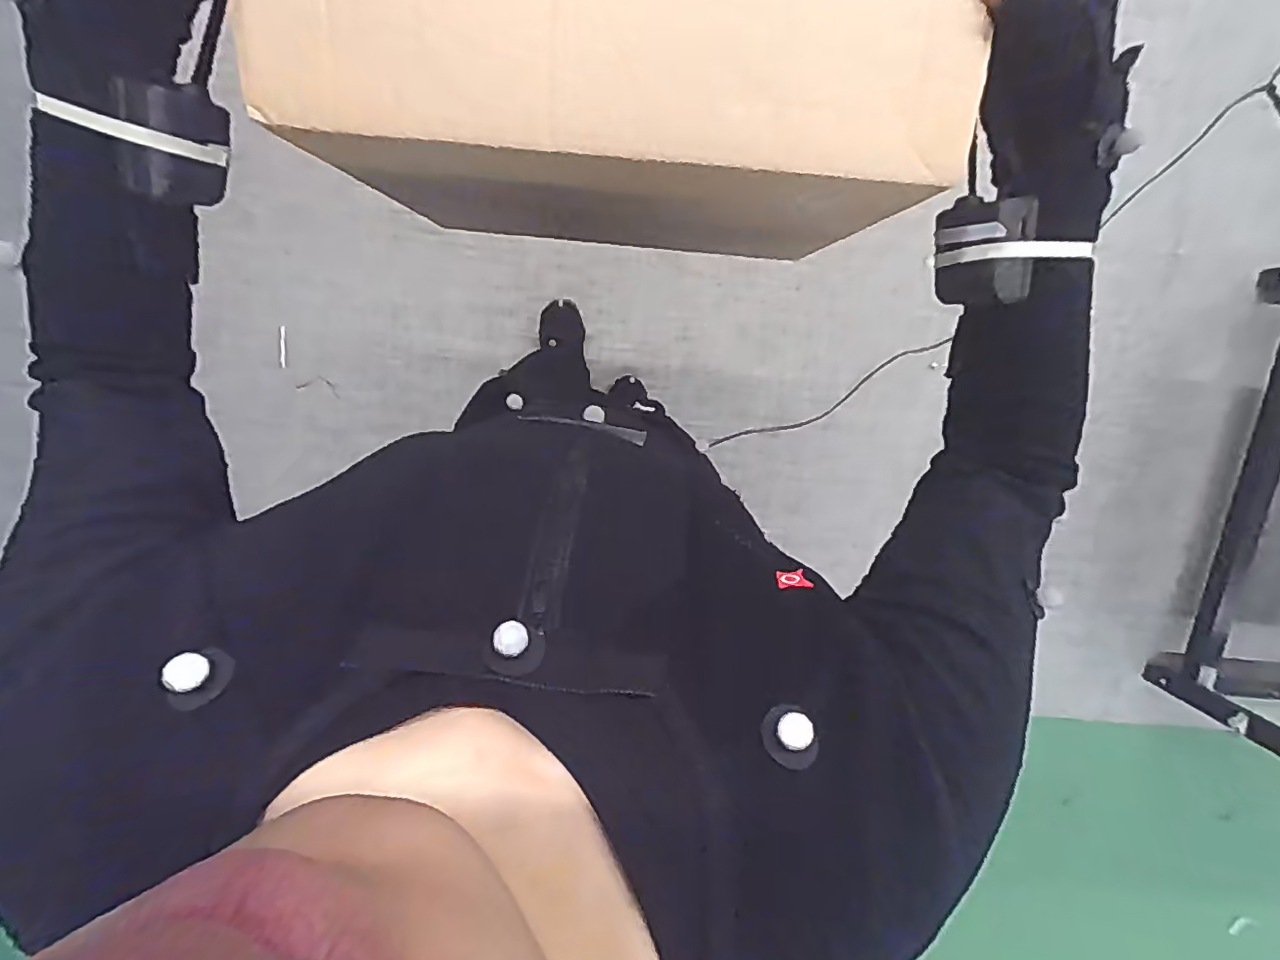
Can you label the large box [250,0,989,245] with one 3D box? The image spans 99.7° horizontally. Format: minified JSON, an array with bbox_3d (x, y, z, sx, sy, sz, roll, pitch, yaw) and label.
[{"bbox_3d":[-0.008,-0.378,0.412,0.408,0.320,0.320,3,106,-3],"label":"large box"}]
